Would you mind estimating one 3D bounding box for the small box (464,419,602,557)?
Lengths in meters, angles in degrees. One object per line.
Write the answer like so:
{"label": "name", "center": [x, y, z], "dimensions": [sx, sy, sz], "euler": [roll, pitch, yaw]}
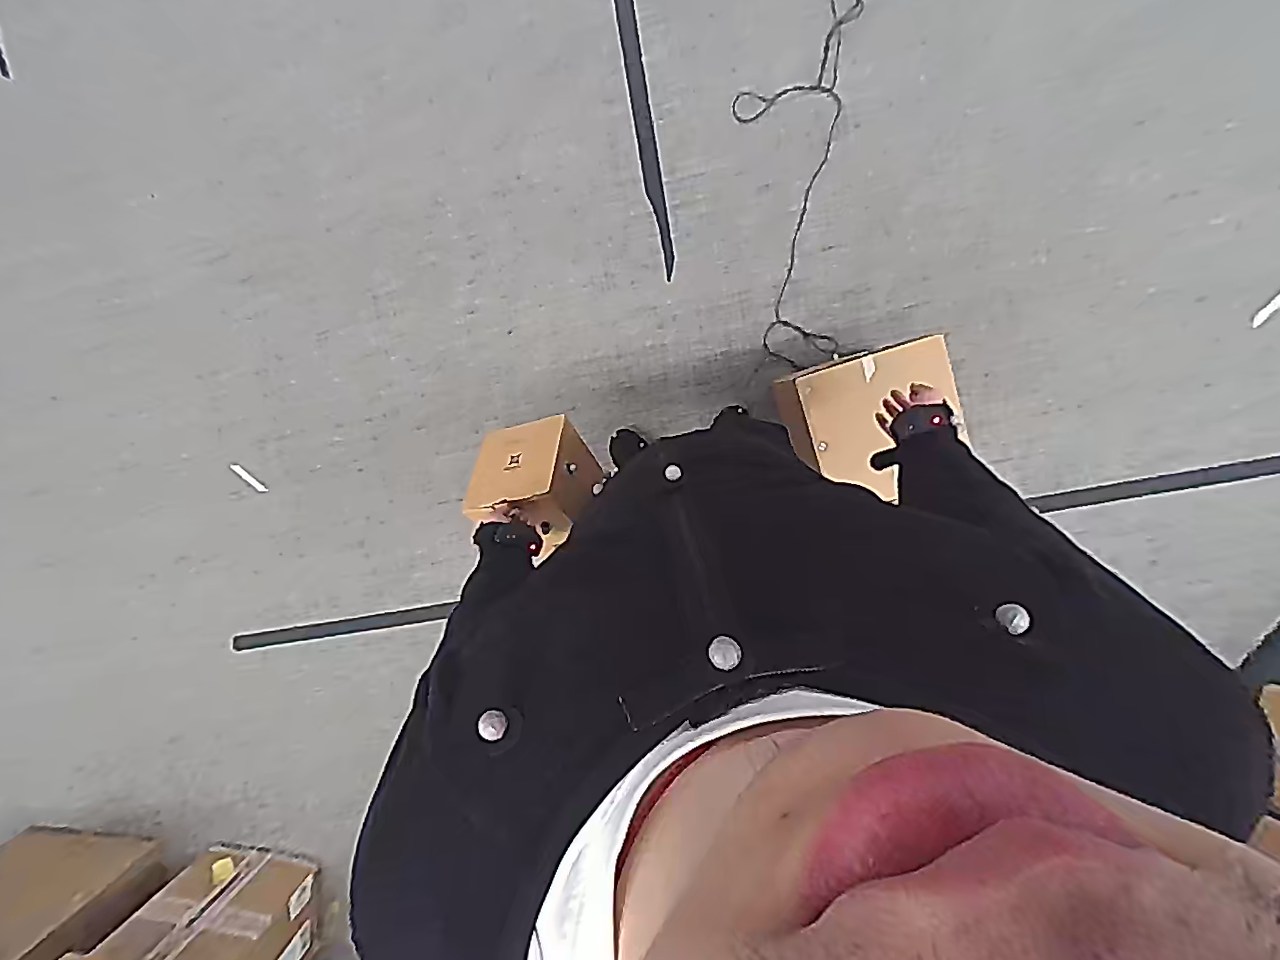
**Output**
{"label": "small box", "center": [-0.178, 0.024, 0.964], "dimensions": [0.168, 0.179, 0.176], "euler": [-11, 138, 18]}
